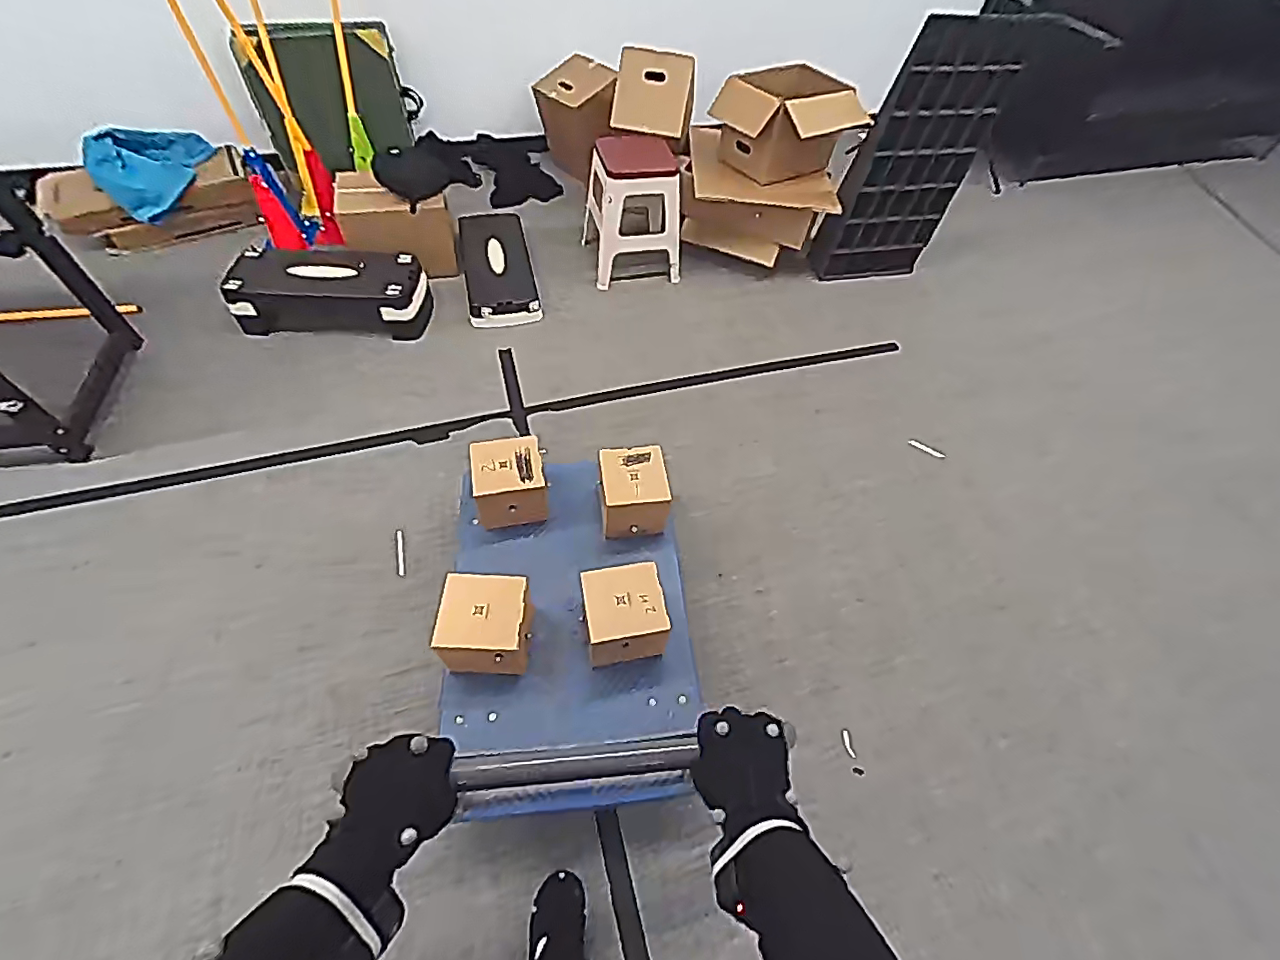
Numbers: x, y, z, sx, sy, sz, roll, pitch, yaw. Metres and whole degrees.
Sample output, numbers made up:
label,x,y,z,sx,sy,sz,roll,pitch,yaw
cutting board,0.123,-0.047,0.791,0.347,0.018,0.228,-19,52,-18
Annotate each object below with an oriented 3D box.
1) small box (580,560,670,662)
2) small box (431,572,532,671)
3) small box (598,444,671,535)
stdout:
label,x,y,z,sx,sy,sz,roll,pitch,yaw
small box,-0.040,0.303,1.239,0.179,0.176,0.168,-7,56,-10
small box,-0.341,0.318,1.202,0.179,0.176,0.168,3,54,-5
small box,-0.021,0.026,1.434,0.168,0.176,0.179,-5,57,-8
